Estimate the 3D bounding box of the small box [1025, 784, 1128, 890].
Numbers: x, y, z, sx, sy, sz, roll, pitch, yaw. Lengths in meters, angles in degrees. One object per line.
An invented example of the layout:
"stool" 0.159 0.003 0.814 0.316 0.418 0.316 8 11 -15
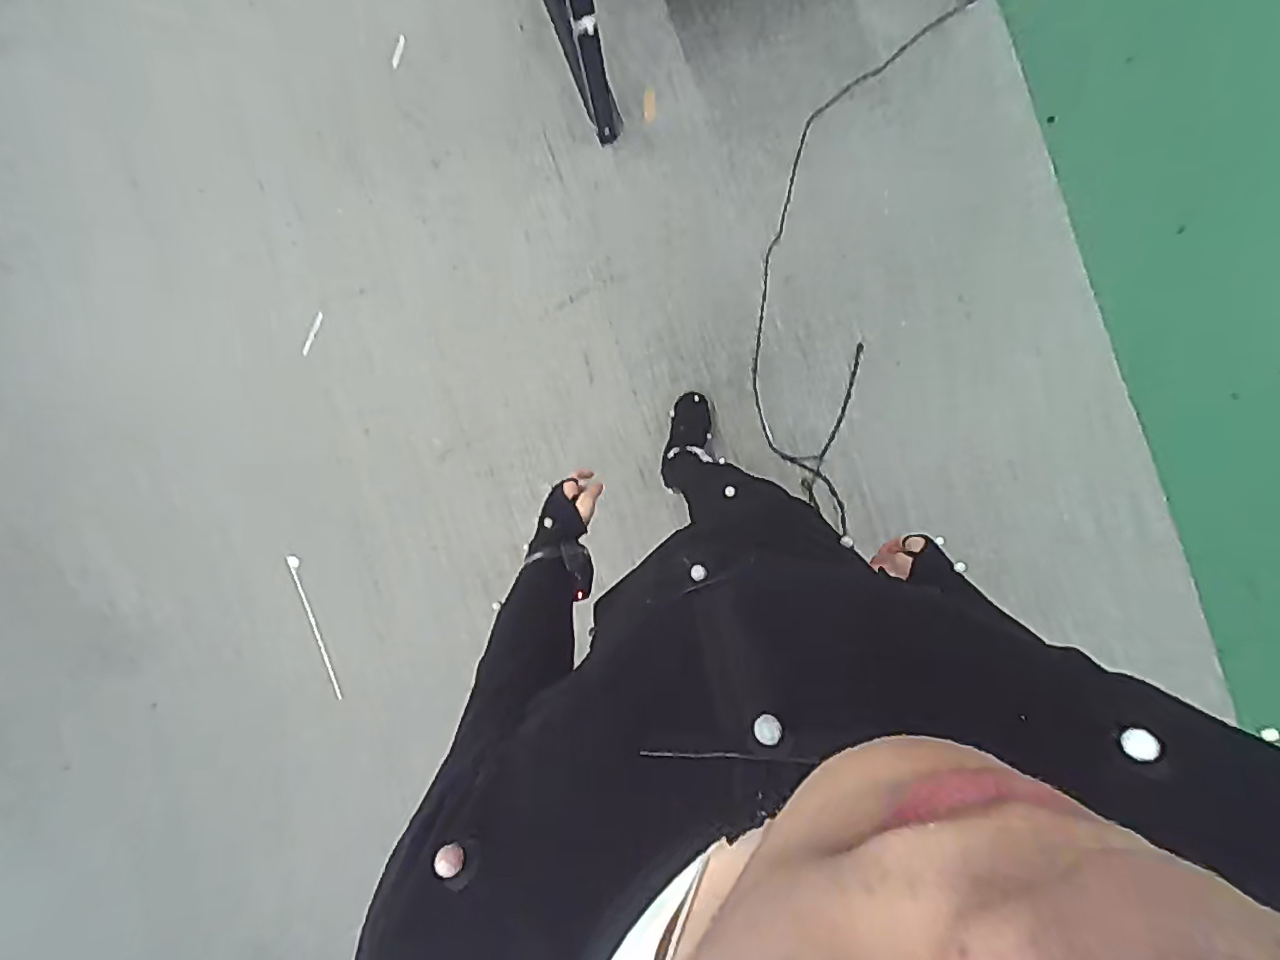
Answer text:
"small box" 1.202 0.966 1.482 0.168 0.176 0.179 -15 91 4
